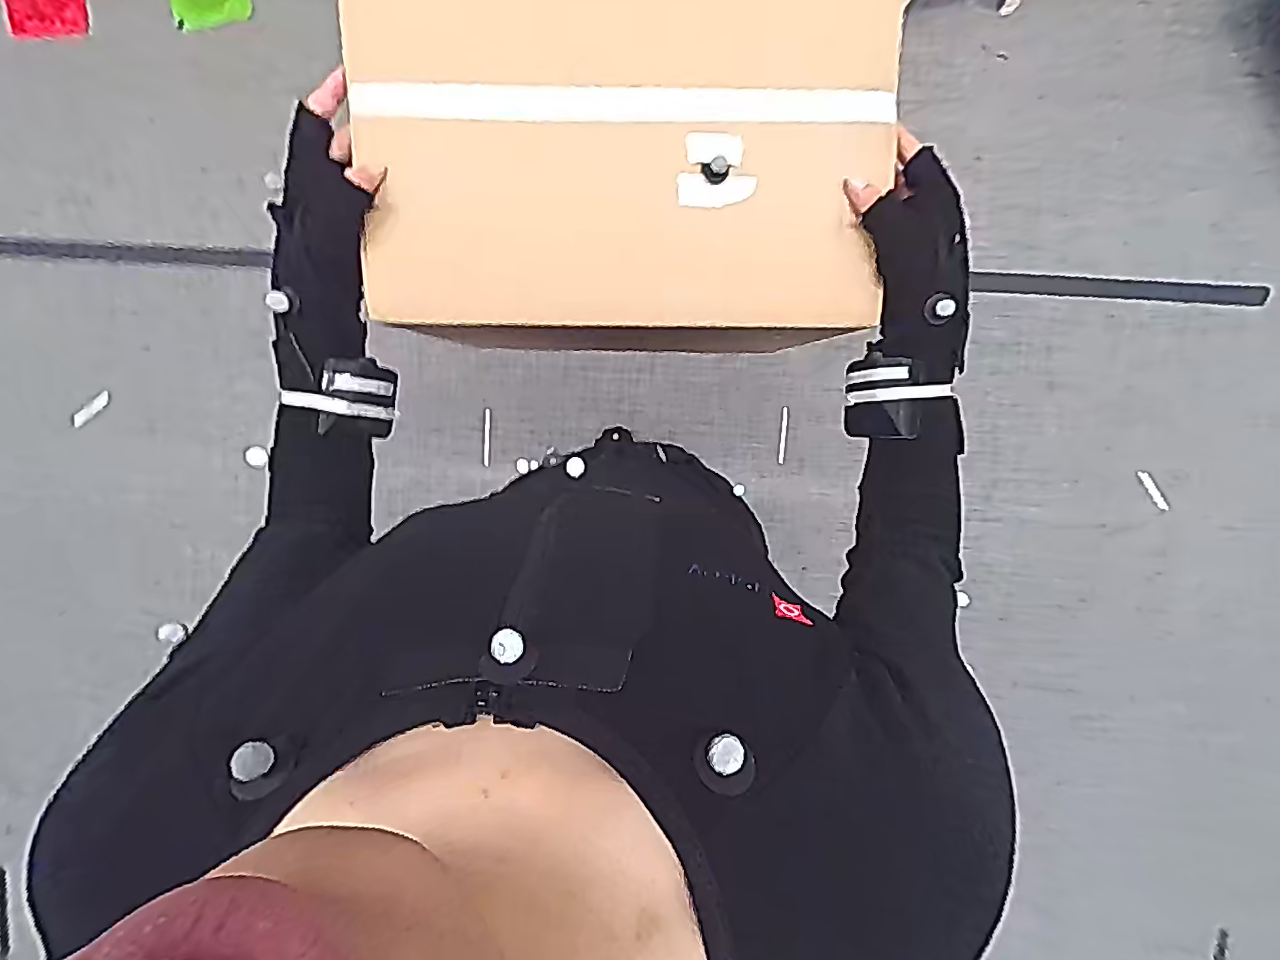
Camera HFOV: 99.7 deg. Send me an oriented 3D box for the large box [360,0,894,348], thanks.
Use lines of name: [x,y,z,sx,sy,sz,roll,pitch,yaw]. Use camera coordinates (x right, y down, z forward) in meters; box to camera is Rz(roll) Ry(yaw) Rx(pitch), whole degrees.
large box: [-0.014,-0.309,0.559,0.408,0.320,0.320,0,100,-2]
